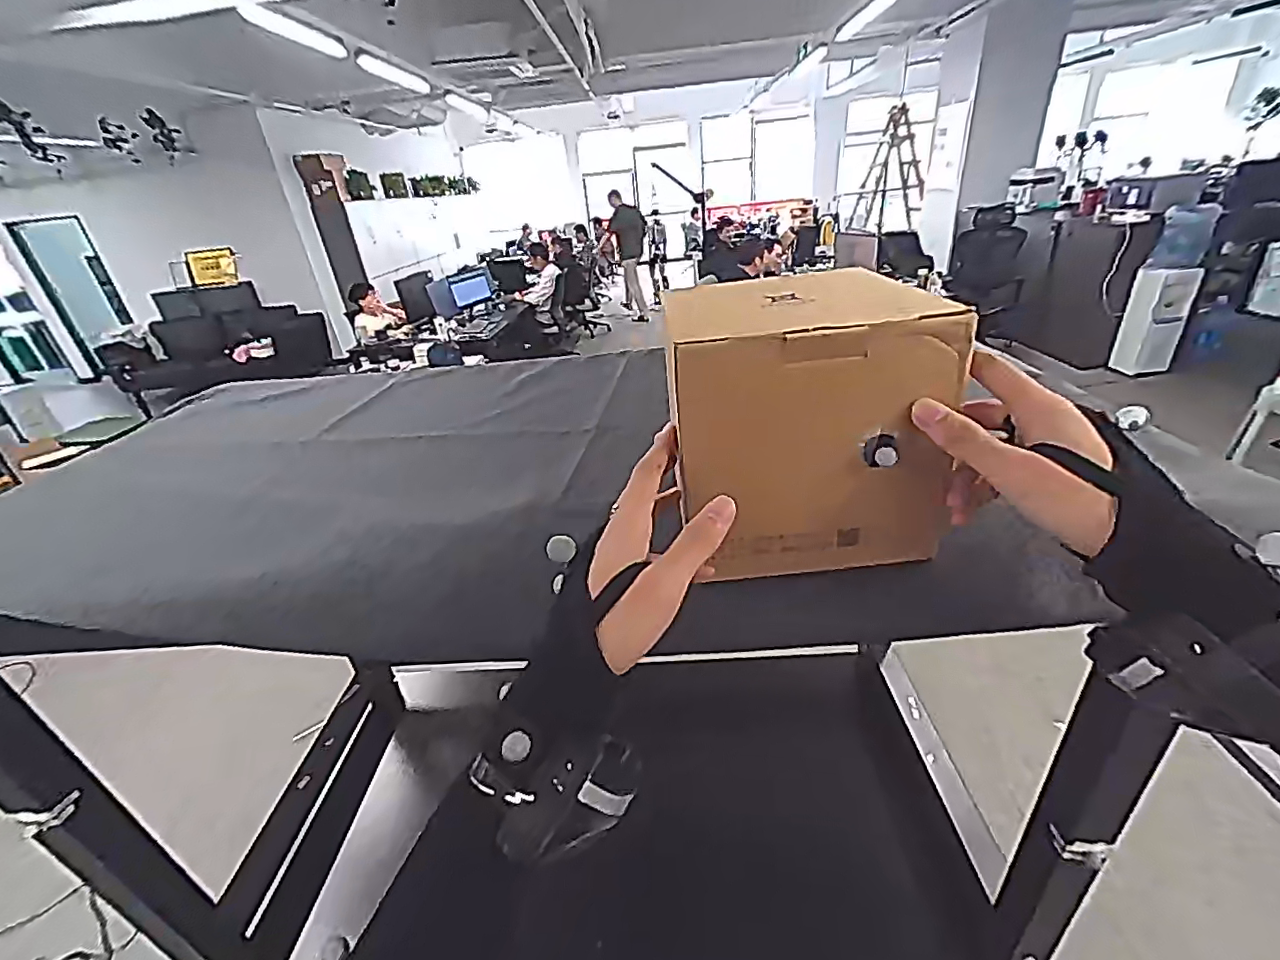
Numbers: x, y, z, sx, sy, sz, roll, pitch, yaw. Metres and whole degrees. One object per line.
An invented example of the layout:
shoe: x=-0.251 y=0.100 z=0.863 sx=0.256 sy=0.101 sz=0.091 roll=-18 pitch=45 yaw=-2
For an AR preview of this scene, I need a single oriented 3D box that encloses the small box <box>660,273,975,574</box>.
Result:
small box: x=0.106 y=-0.044 z=0.399 sx=0.168 sy=0.176 sz=0.179 roll=-5 pitch=28 yaw=1
